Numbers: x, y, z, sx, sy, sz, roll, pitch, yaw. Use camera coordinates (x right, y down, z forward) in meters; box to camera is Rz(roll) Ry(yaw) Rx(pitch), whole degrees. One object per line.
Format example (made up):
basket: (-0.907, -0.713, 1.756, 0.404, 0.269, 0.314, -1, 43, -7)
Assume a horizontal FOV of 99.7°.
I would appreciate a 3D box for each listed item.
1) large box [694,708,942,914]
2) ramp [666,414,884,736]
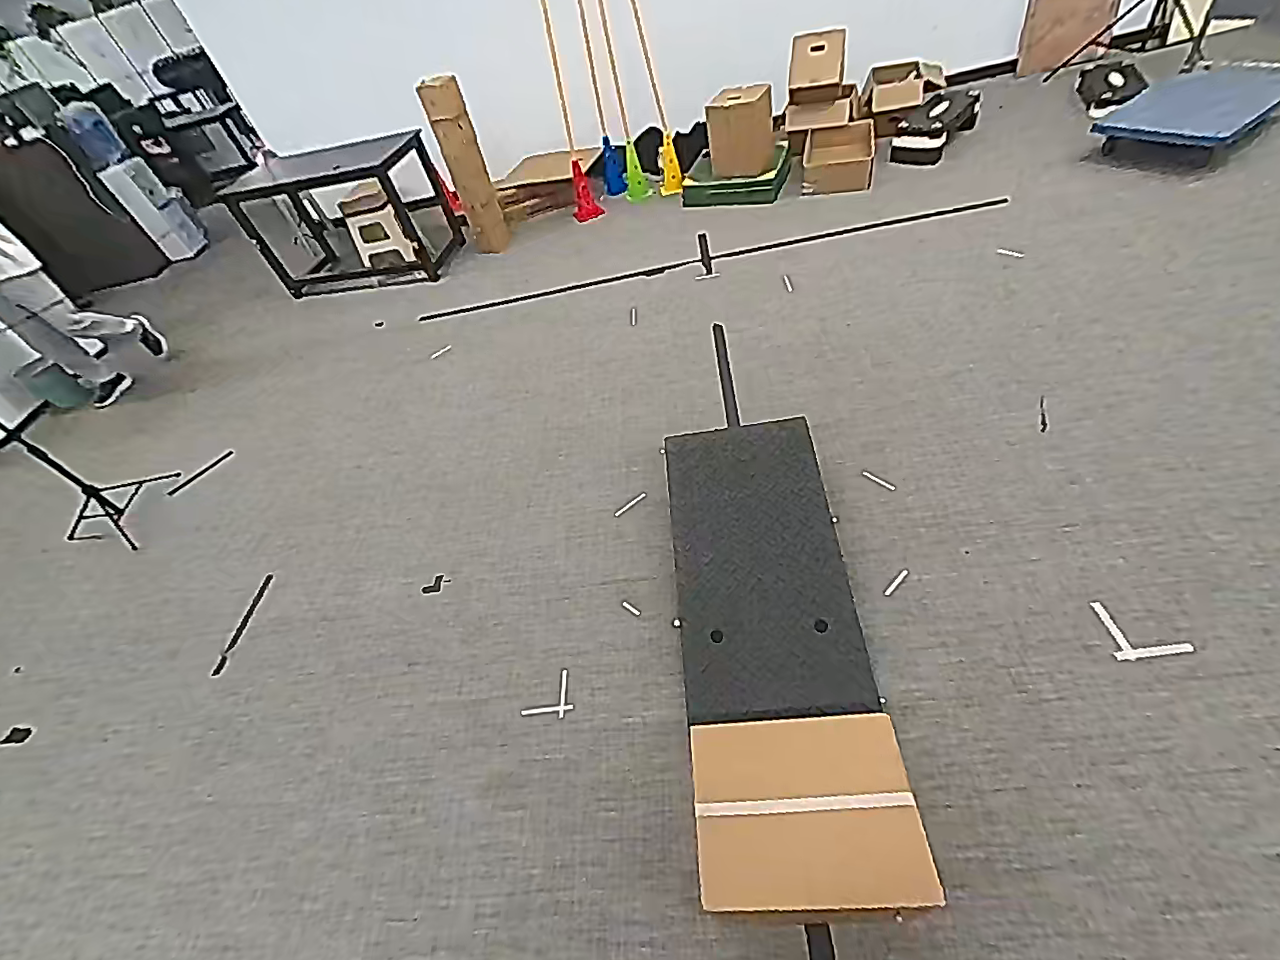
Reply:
large box: (0.342, 0.705, 1.137, 0.408, 0.320, 0.320, -8, 47, 8)
ramp: (0.357, 0.232, 1.626, 0.509, 0.206, 0.991, -9, 48, 6)
